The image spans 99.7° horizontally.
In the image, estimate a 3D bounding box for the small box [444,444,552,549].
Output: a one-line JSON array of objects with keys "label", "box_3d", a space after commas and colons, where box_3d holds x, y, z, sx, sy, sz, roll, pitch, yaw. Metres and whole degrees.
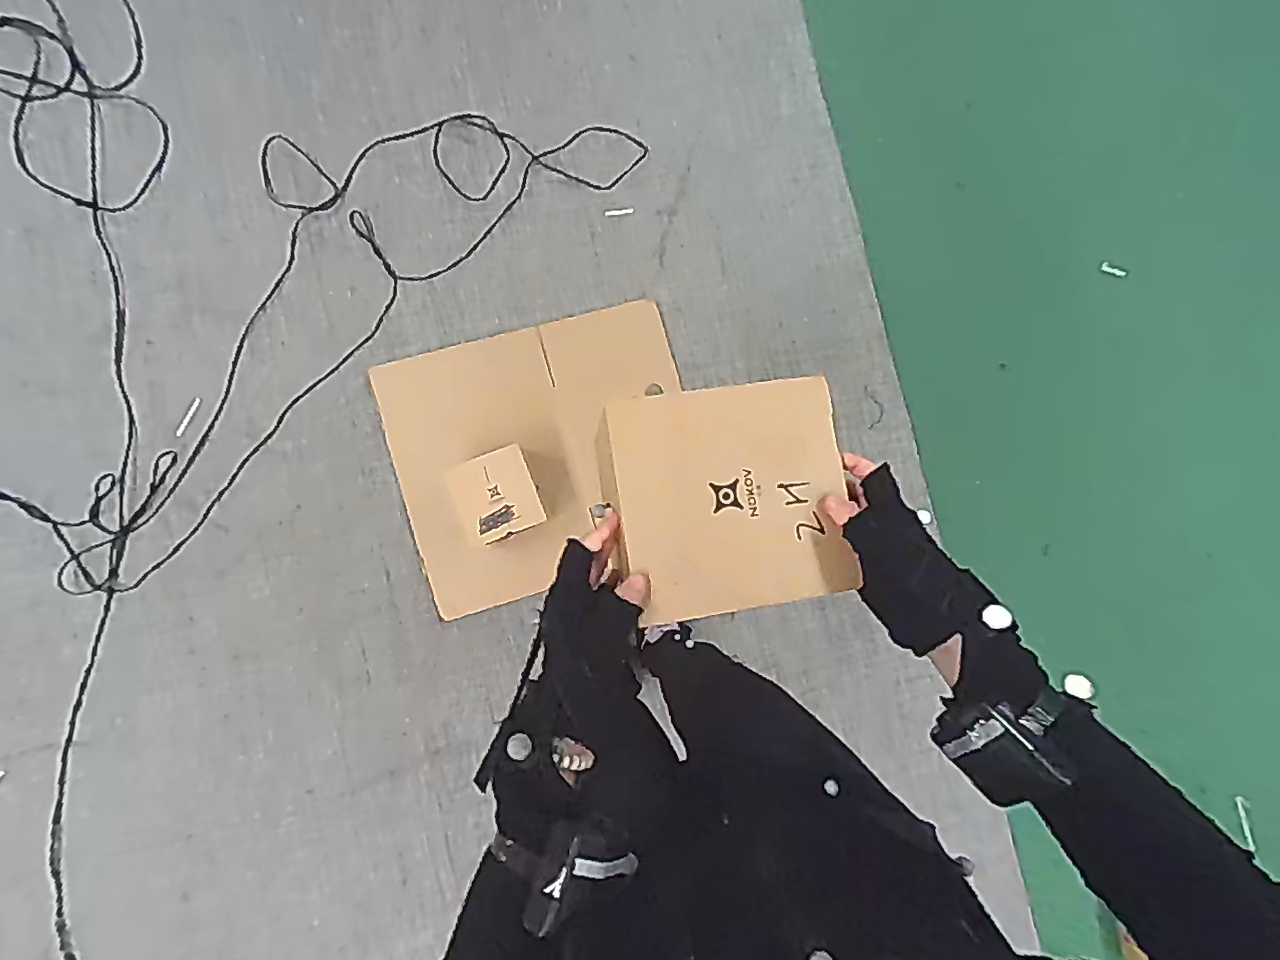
[{"label": "small box", "box_3d": [-0.298, 0.035, 1.178, 0.168, 0.176, 0.179, -21, 89, -6]}]

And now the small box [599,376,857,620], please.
[{"label": "small box", "box_3d": [0.059, 0.018, 0.481, 0.179, 0.176, 0.168, -8, 87, -7]}]
